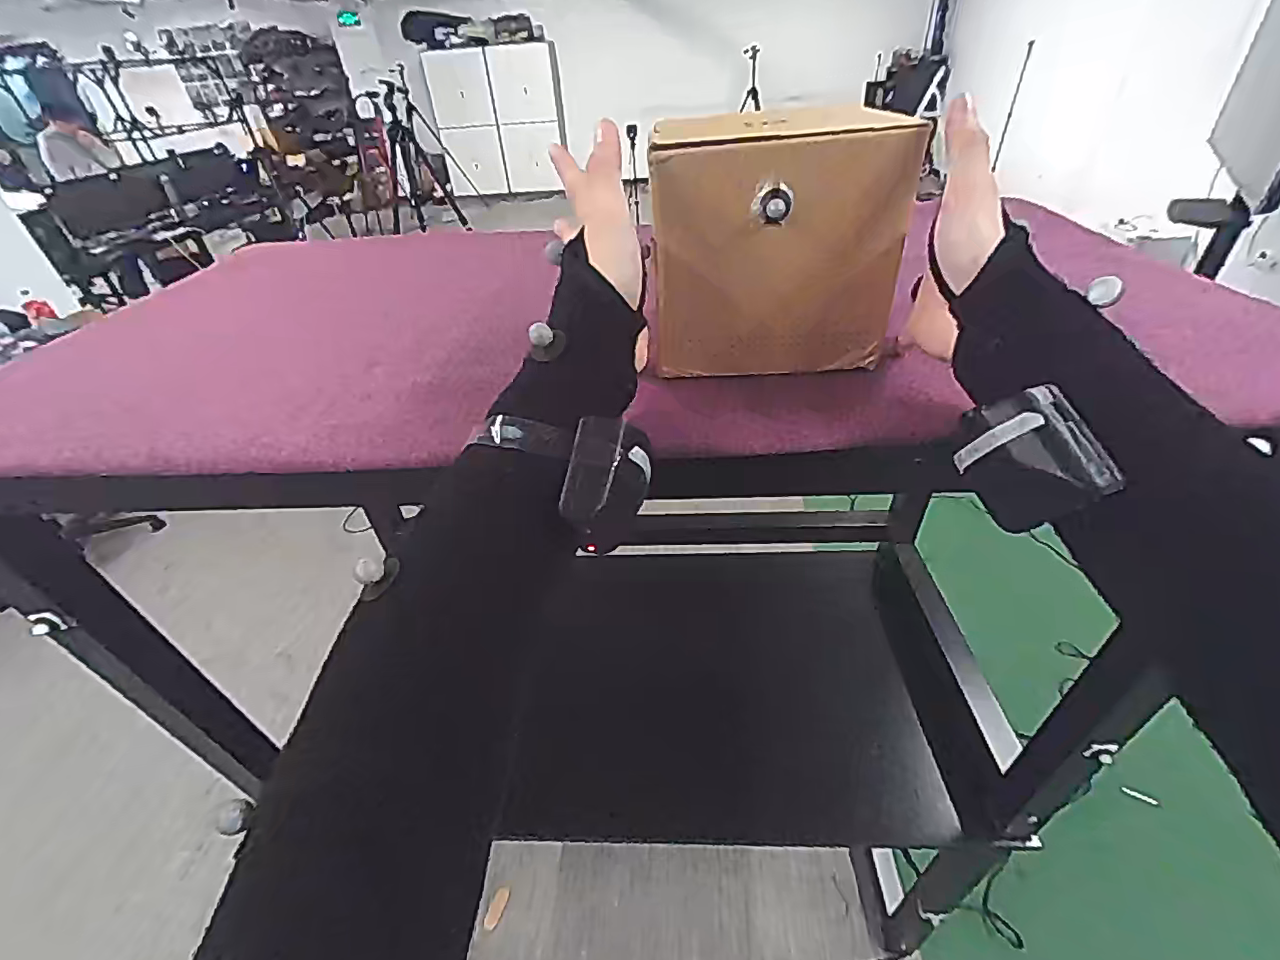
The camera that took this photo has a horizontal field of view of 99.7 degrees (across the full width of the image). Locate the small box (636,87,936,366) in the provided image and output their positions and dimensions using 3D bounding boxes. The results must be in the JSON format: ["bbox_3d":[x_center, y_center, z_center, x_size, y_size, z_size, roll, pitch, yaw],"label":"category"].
[{"bbox_3d":[0.093,-0.200,0.423,0.179,0.176,0.168,3,38,5],"label":"small box"}]
